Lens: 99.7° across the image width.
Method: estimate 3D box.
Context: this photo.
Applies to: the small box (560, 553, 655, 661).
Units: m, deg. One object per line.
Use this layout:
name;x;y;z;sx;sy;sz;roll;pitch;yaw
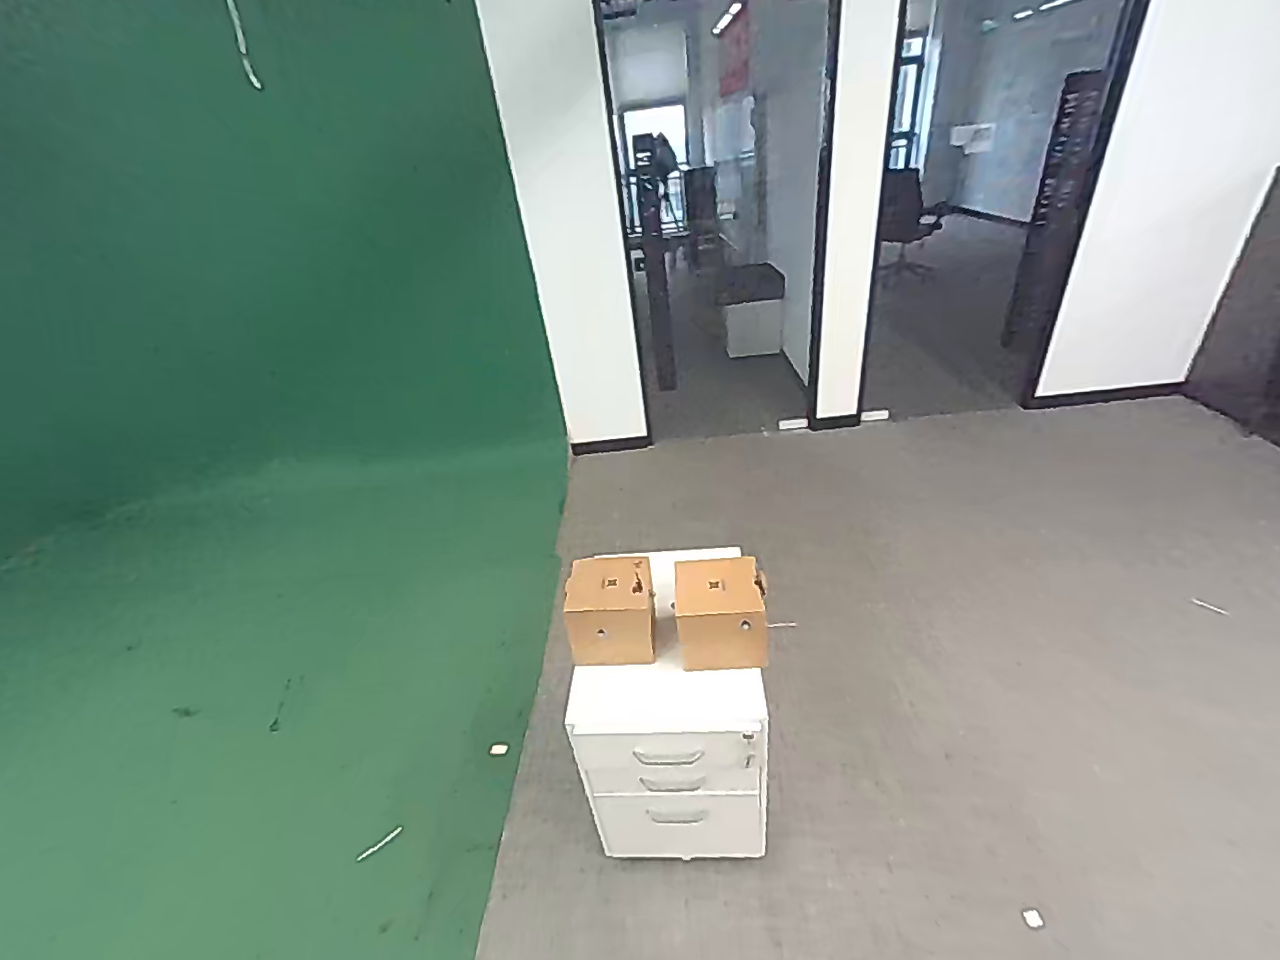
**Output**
small box;-0.064;0.280;1.191;0.179;0.176;0.168;-4;33;5
